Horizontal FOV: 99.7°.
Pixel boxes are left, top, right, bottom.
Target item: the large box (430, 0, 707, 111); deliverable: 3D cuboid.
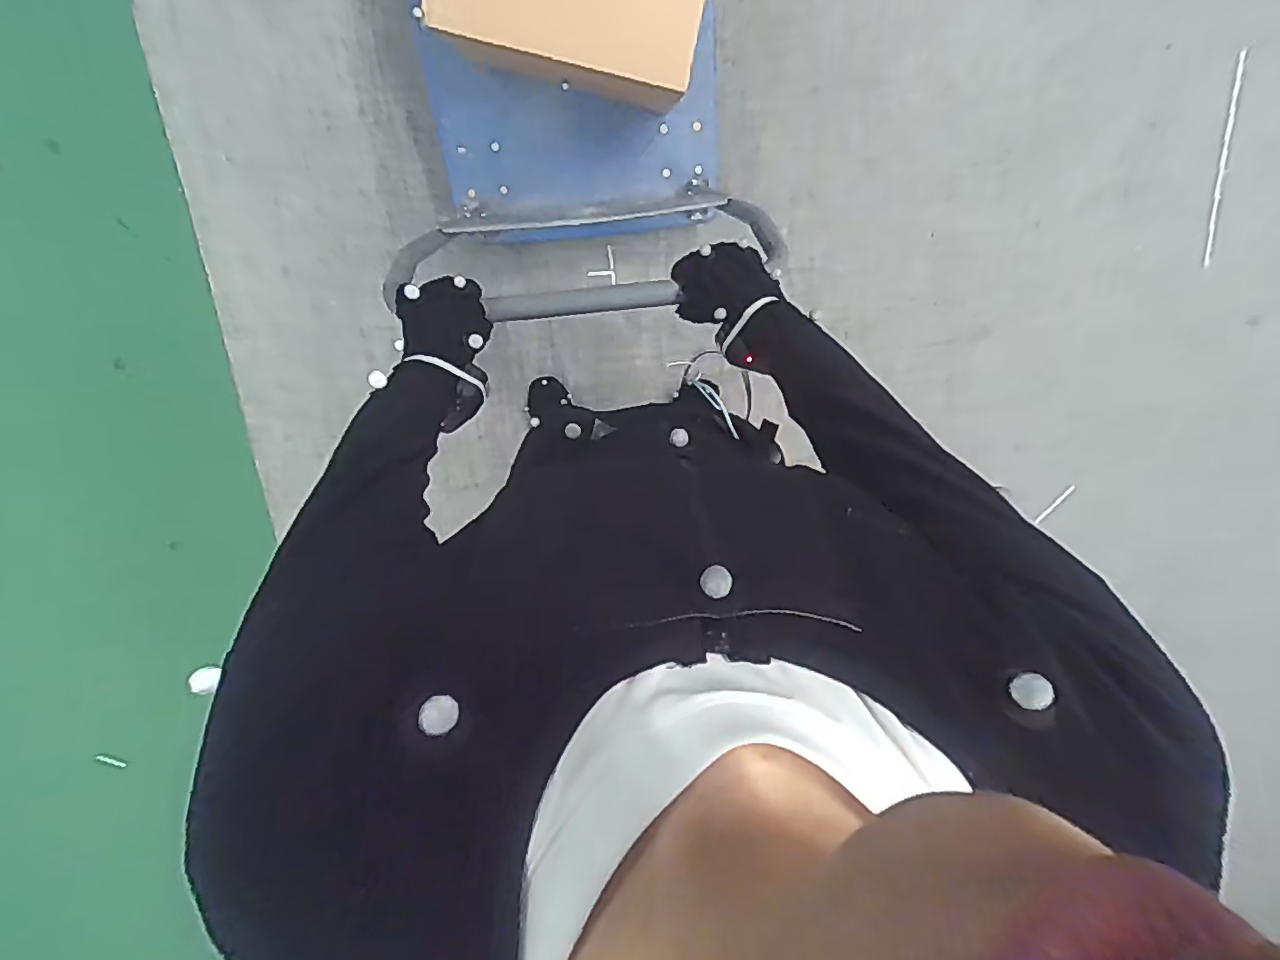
[{"bbox_3d":[-0.094,-0.835,0.886,0.408,0.320,0.320,9,118,-7],"label":"large box"}]
